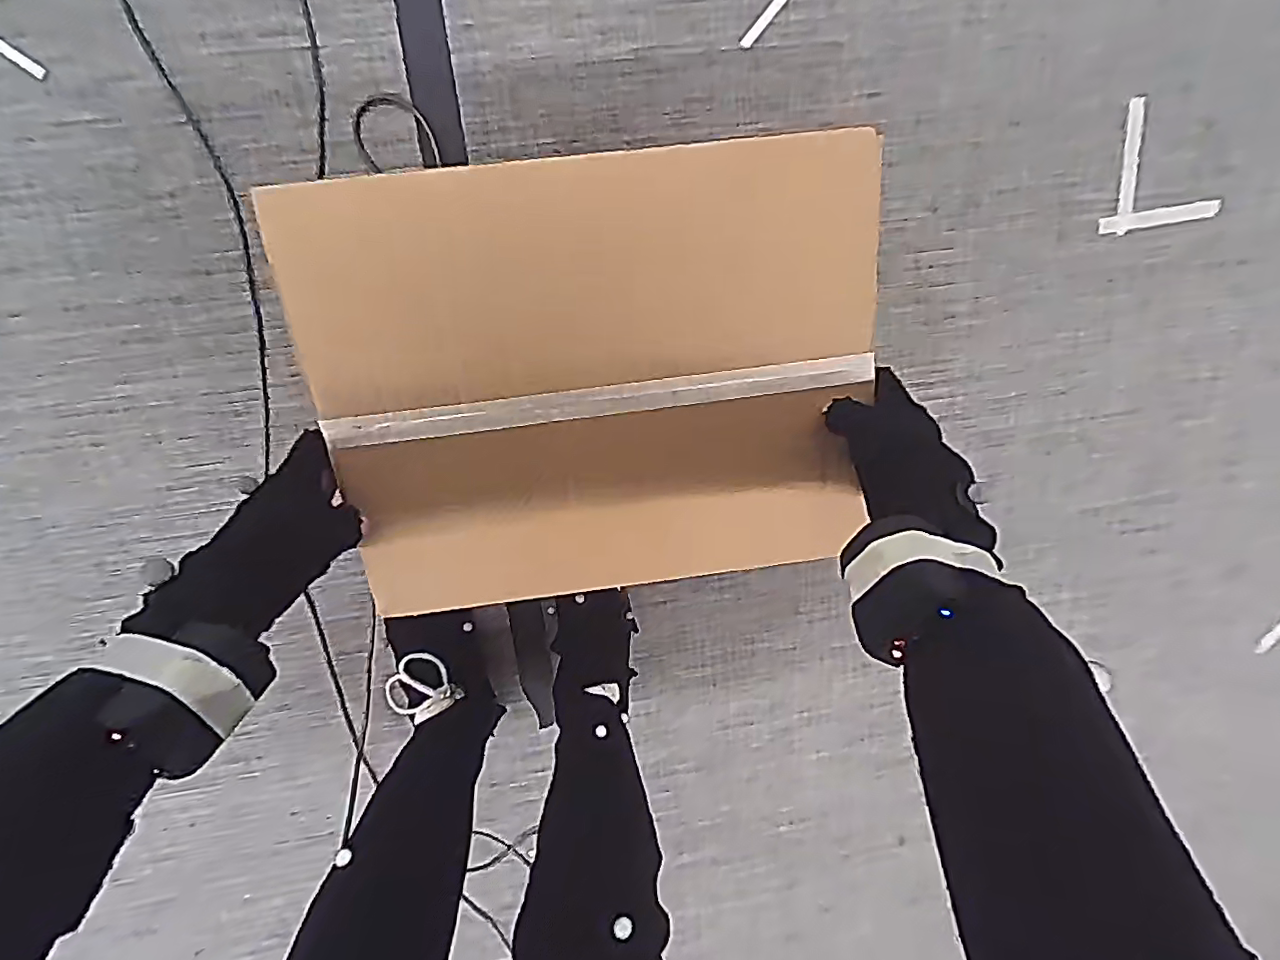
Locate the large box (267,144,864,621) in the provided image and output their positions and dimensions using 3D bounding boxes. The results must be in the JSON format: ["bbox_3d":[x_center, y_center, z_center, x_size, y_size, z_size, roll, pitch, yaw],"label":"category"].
[{"bbox_3d":[-0.039,-0.102,0.543,0.408,0.320,0.320,-8,108,-3],"label":"large box"}]
